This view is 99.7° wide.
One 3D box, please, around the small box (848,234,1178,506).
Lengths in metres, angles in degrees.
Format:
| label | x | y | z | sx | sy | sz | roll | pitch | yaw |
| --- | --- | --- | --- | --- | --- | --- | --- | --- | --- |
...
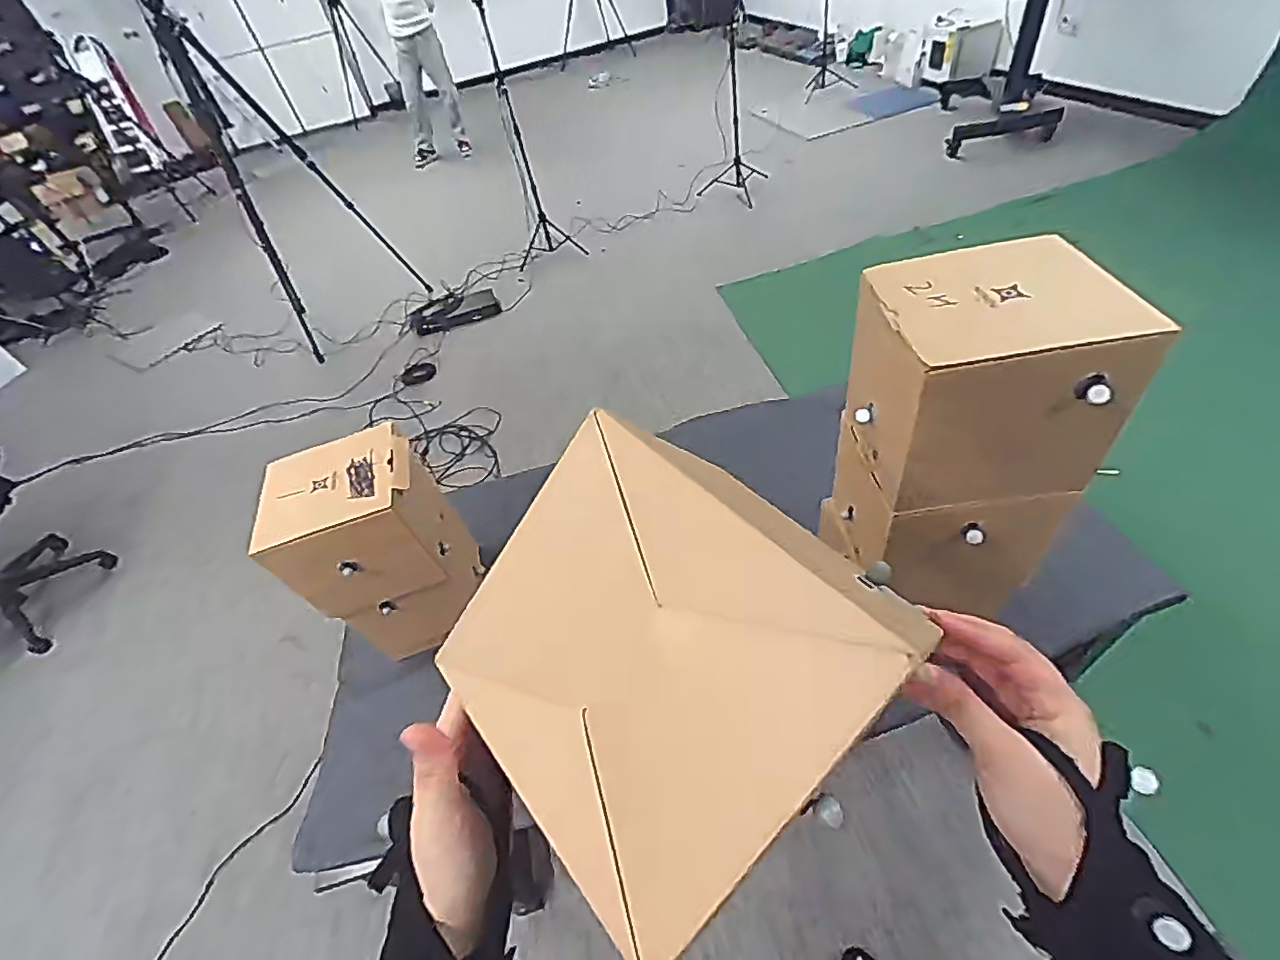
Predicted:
| label | x | y | z | sx | sy | sz | roll | pitch | yaw |
| --- | --- | --- | --- | --- | --- | --- | --- | --- | --- |
| small box | 0.307 | -0.096 | 0.499 | 0.179 | 0.176 | 0.168 | -8 | 46 | 8 |

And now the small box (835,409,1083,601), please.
| label | x | y | z | sx | sy | sz | roll | pitch | yaw |
| --- | --- | --- | --- | --- | --- | --- | --- | --- | --- |
| small box | 0.336 | 0.018 | 0.615 | 0.179 | 0.176 | 0.168 | -10 | 46 | 7 |

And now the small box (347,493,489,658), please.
| label | x | y | z | sx | sy | sz | roll | pitch | yaw |
| --- | --- | --- | --- | --- | --- | --- | --- | --- | --- |
| small box | -0.359 | 0.156 | 0.881 | 0.168 | 0.176 | 0.179 | -19 | 48 | -5 |

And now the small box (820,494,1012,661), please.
| label | x | y | z | sx | sy | sz | roll | pitch | yaw |
| --- | --- | --- | --- | --- | --- | --- | --- | --- | --- |
| small box | 0.361 | 0.117 | 0.743 | 0.168 | 0.176 | 0.179 | -17 | 47 | -1 |

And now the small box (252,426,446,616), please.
| label | x | y | z | sx | sy | sz | roll | pitch | yaw |
| --- | --- | --- | --- | --- | --- | --- | --- | --- | --- |
| small box | -0.381 | 0.059 | 0.748 | 0.179 | 0.176 | 0.168 | -19 | 48 | -4 |
